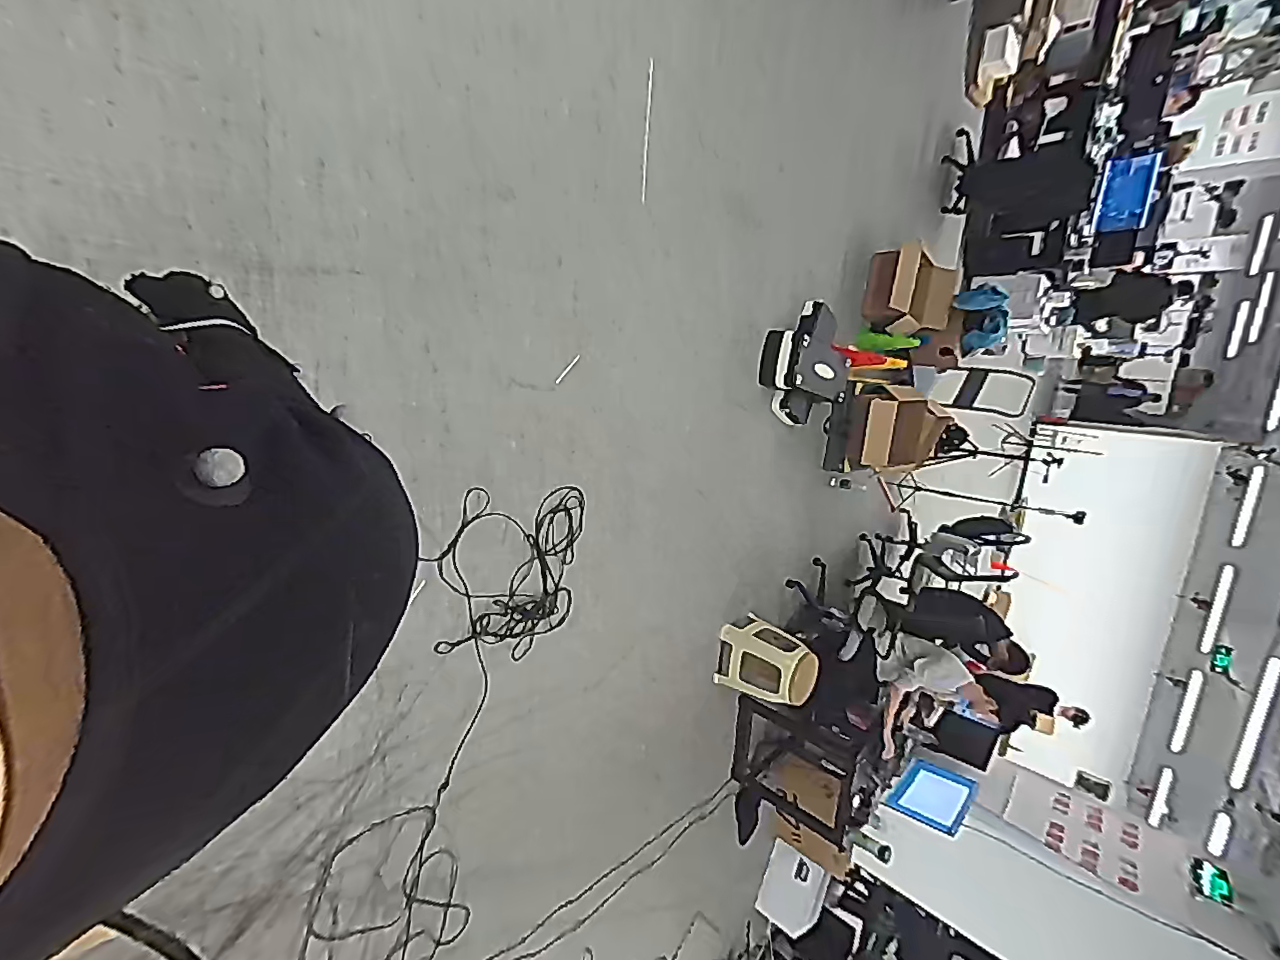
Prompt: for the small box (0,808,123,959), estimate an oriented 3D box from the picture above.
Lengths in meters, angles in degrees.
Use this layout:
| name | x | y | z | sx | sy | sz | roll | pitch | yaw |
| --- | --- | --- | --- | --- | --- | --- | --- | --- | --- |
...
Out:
| name | x | y | z | sx | sy | sz | roll | pitch | yaw |
| --- | --- | --- | --- | --- | --- | --- | --- | --- | --- |
| small box | -1.175 | 0.822 | 1.099 | 0.168 | 0.176 | 0.179 | -5 | 104 | -48 |
